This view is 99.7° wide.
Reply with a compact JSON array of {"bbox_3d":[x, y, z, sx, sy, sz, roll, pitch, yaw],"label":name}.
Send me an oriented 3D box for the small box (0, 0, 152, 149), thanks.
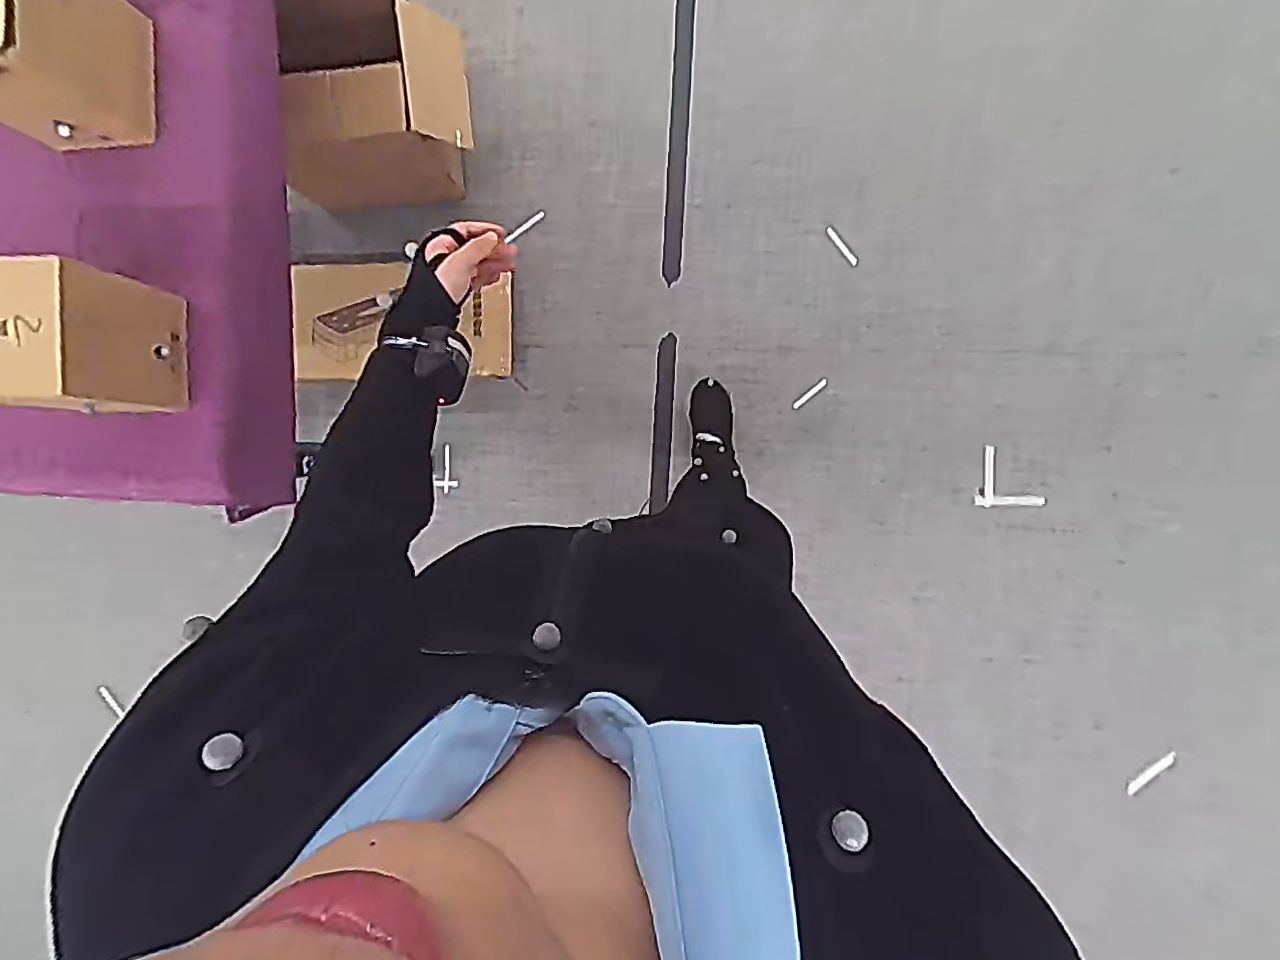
[{"bbox_3d":[-0.790,-0.572,0.707,0.168,0.176,0.179,0,91,7],"label":"small box"}]
